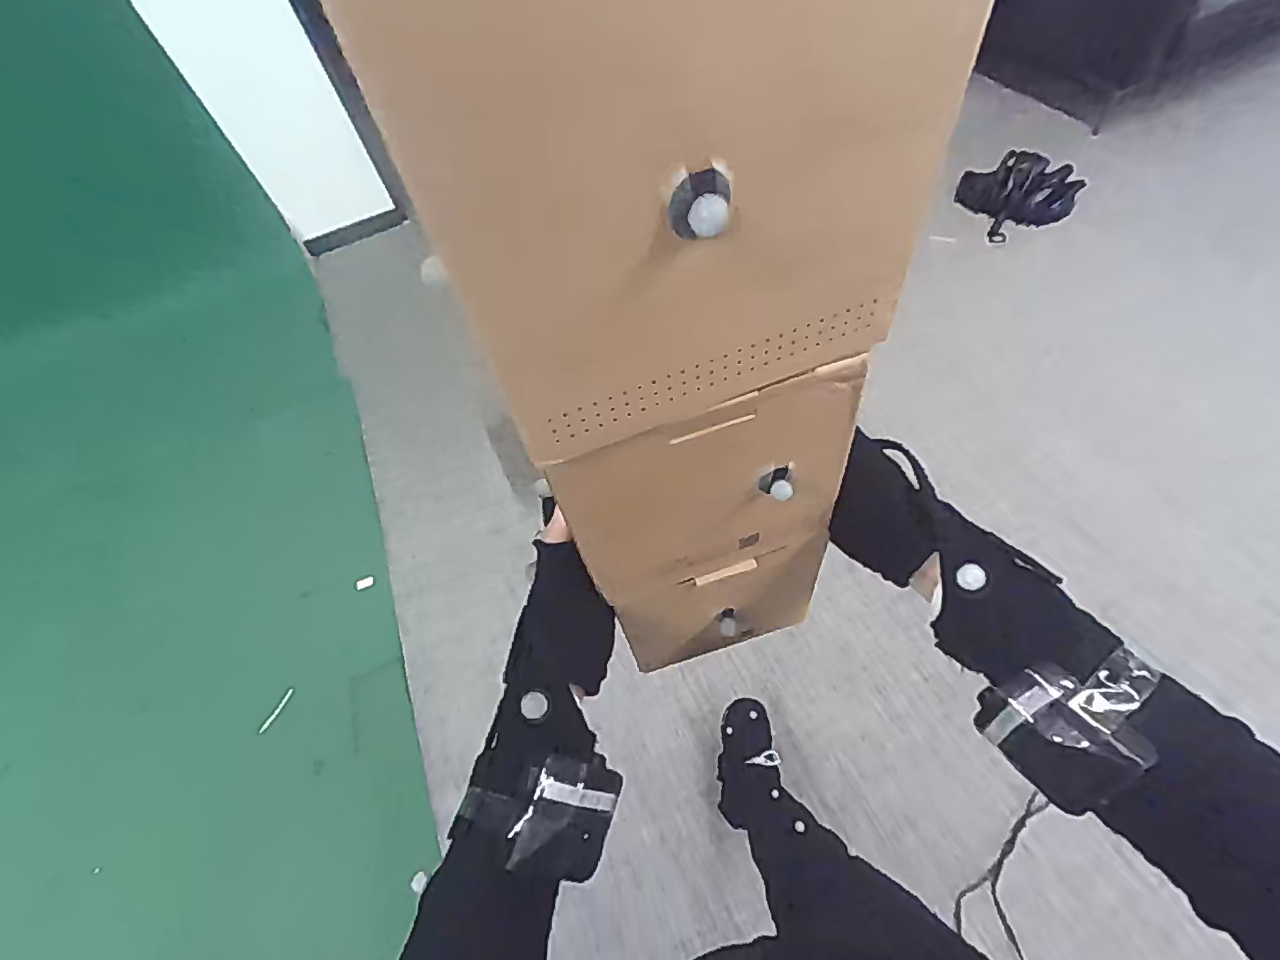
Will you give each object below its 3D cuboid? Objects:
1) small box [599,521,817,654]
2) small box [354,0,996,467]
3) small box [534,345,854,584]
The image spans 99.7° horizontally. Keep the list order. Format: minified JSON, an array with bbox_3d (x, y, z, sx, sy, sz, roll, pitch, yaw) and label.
[{"bbox_3d":[0.043,0.045,0.502,0.168,0.176,0.179,-17,55,-3],"label":"small box"},{"bbox_3d":[-0.001,-0.136,0.234,0.179,0.176,0.168,-22,55,-9],"label":"small box"},{"bbox_3d":[0.017,-0.048,0.371,0.168,0.176,0.179,-17,53,-4],"label":"small box"}]
